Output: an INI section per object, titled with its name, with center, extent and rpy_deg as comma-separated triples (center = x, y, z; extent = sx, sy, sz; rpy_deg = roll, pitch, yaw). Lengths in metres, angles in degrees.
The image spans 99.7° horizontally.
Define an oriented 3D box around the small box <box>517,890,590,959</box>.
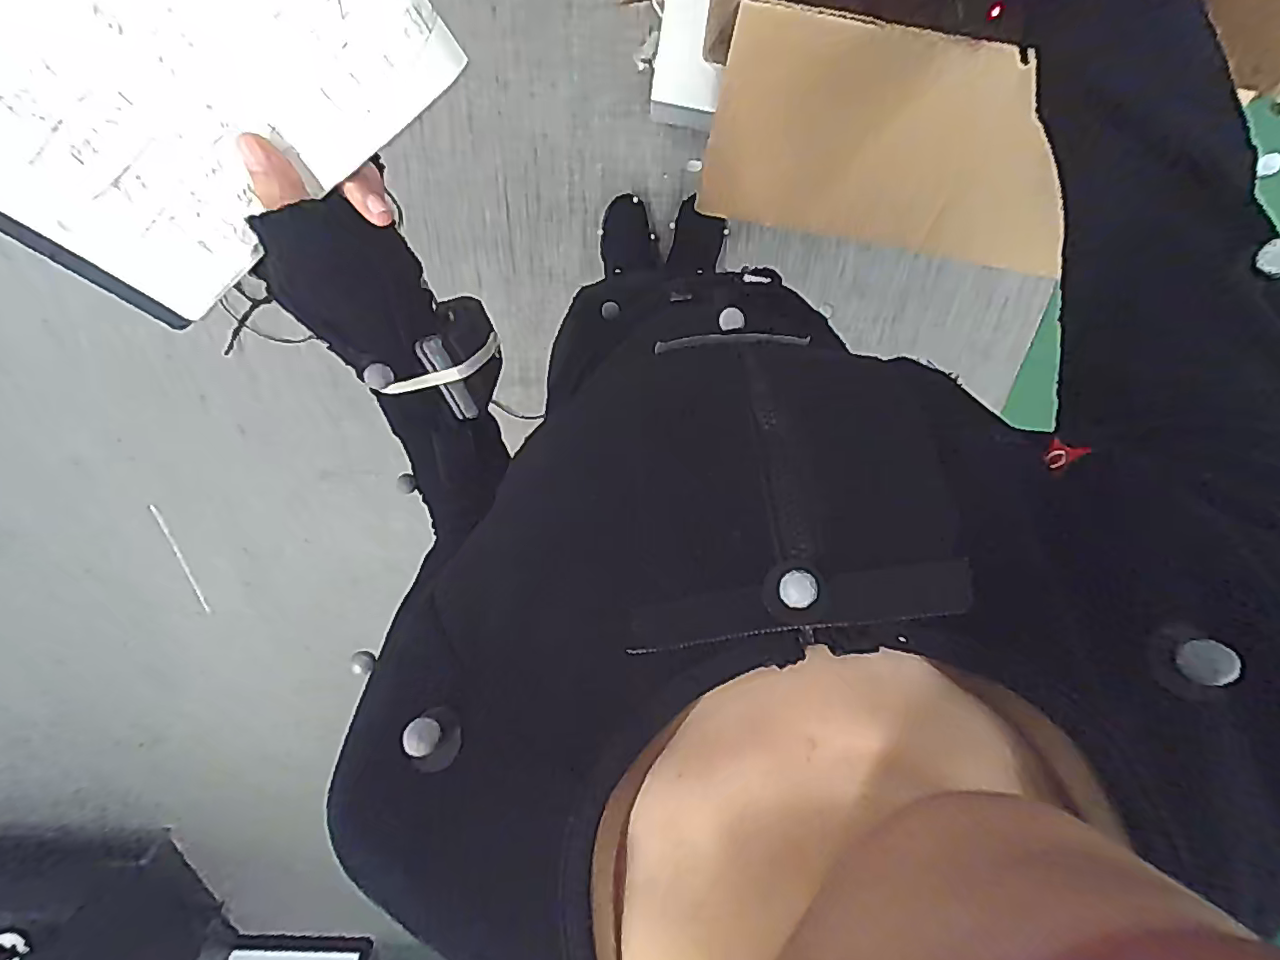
[small box]
center = -0.219, 1.185, 1.389
extent = 0.168, 0.176, 0.179
rpy_deg = 1, 122, 0
